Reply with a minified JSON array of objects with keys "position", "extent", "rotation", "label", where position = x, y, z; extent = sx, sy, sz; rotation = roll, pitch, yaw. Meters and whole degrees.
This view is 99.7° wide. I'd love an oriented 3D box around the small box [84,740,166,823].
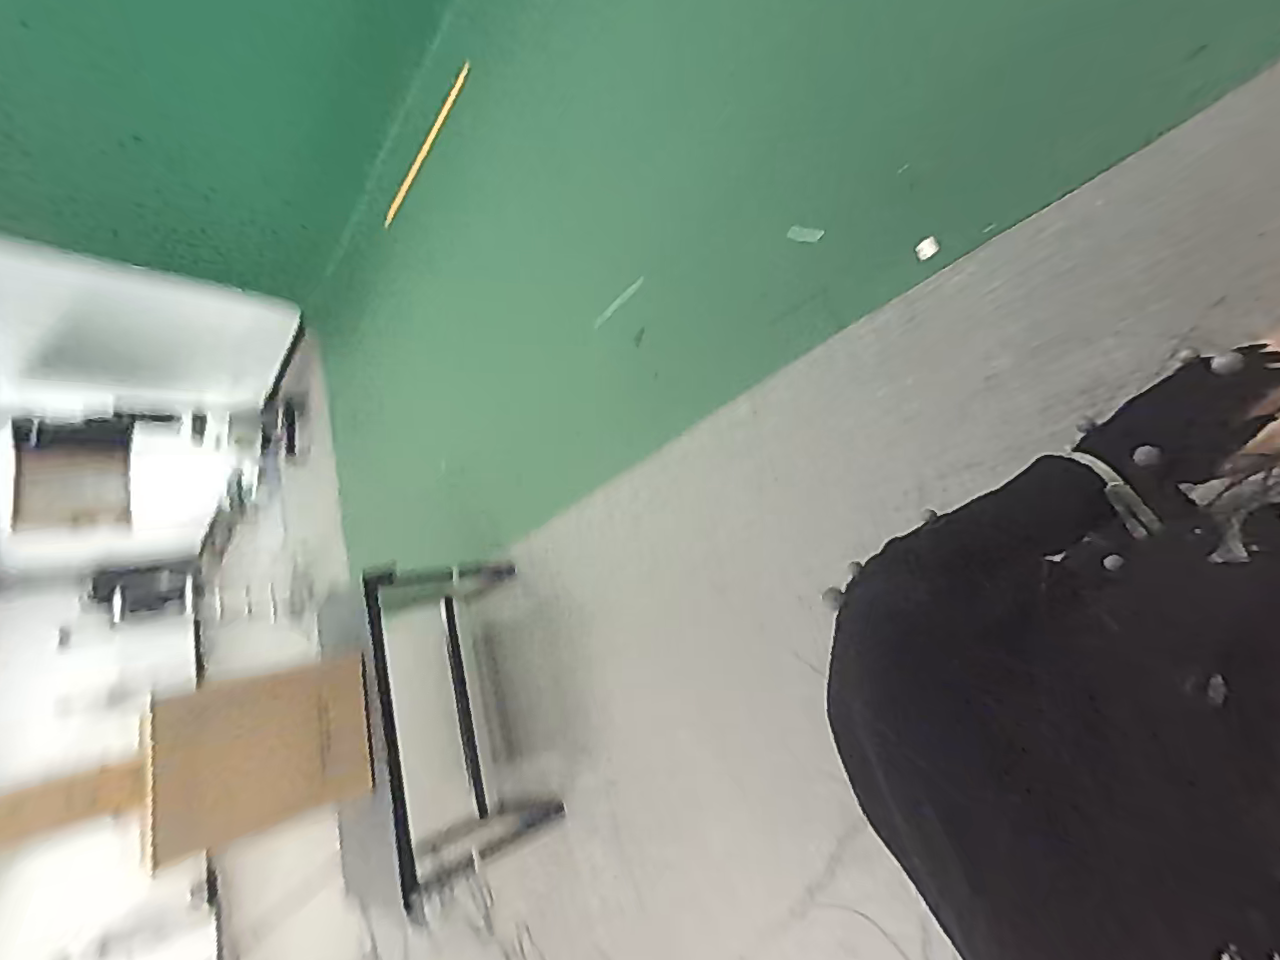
[{"position":[-1.595,0.925,1.677],"extent":[0.168,0.176,0.179],"rotation":[-20,75,40],"label":"small box"}]
